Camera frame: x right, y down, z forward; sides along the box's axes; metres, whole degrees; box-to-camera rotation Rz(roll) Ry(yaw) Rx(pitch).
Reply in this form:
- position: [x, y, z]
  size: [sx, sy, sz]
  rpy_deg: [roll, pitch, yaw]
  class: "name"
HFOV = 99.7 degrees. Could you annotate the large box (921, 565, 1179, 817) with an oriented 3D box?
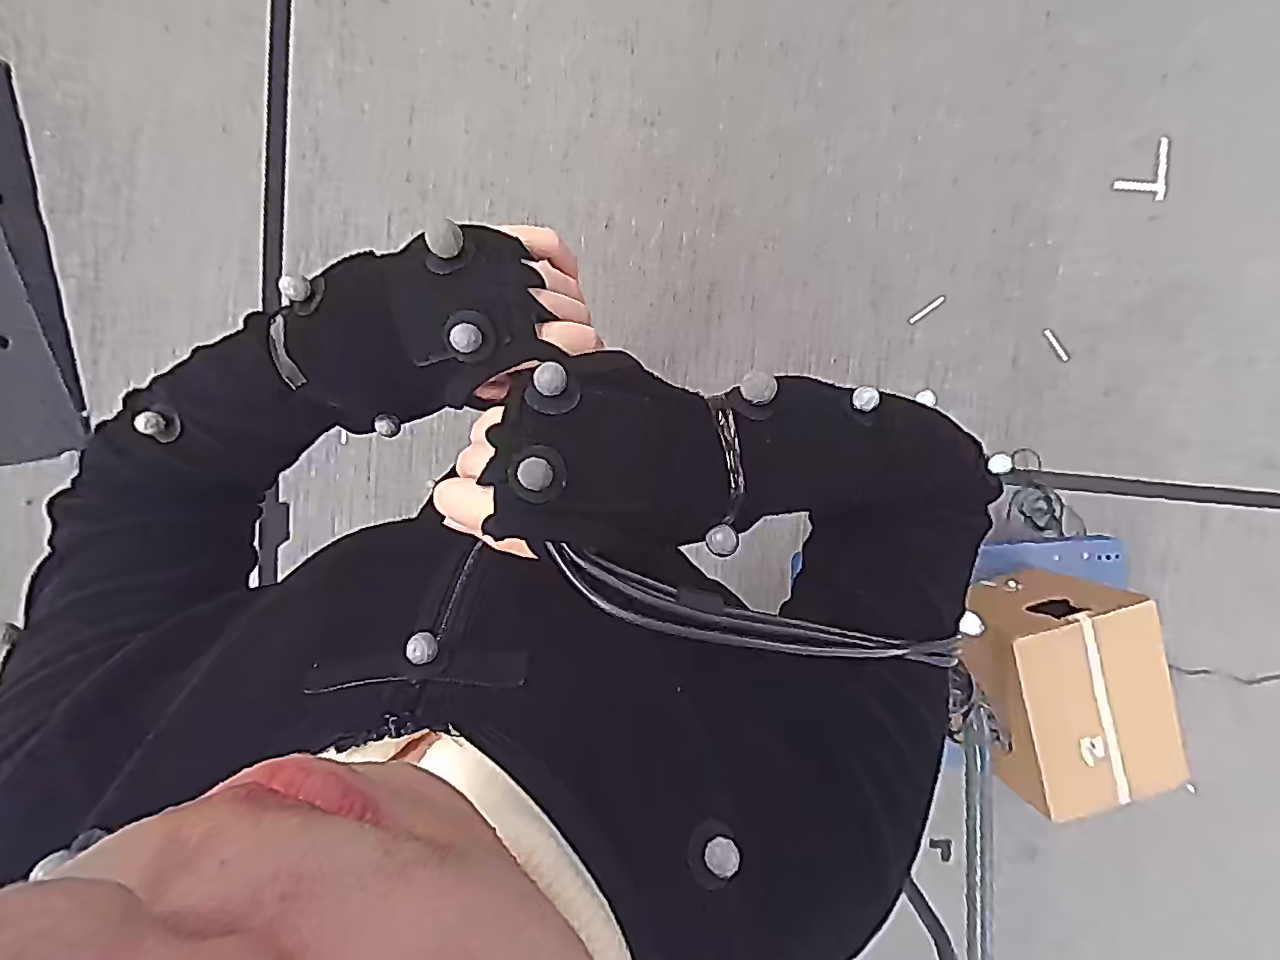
- position: [0.917, 0.455, 1.251]
  size: [0.320, 0.320, 0.408]
  rpy_deg: [-15, 94, -2]
  class: "large box"
